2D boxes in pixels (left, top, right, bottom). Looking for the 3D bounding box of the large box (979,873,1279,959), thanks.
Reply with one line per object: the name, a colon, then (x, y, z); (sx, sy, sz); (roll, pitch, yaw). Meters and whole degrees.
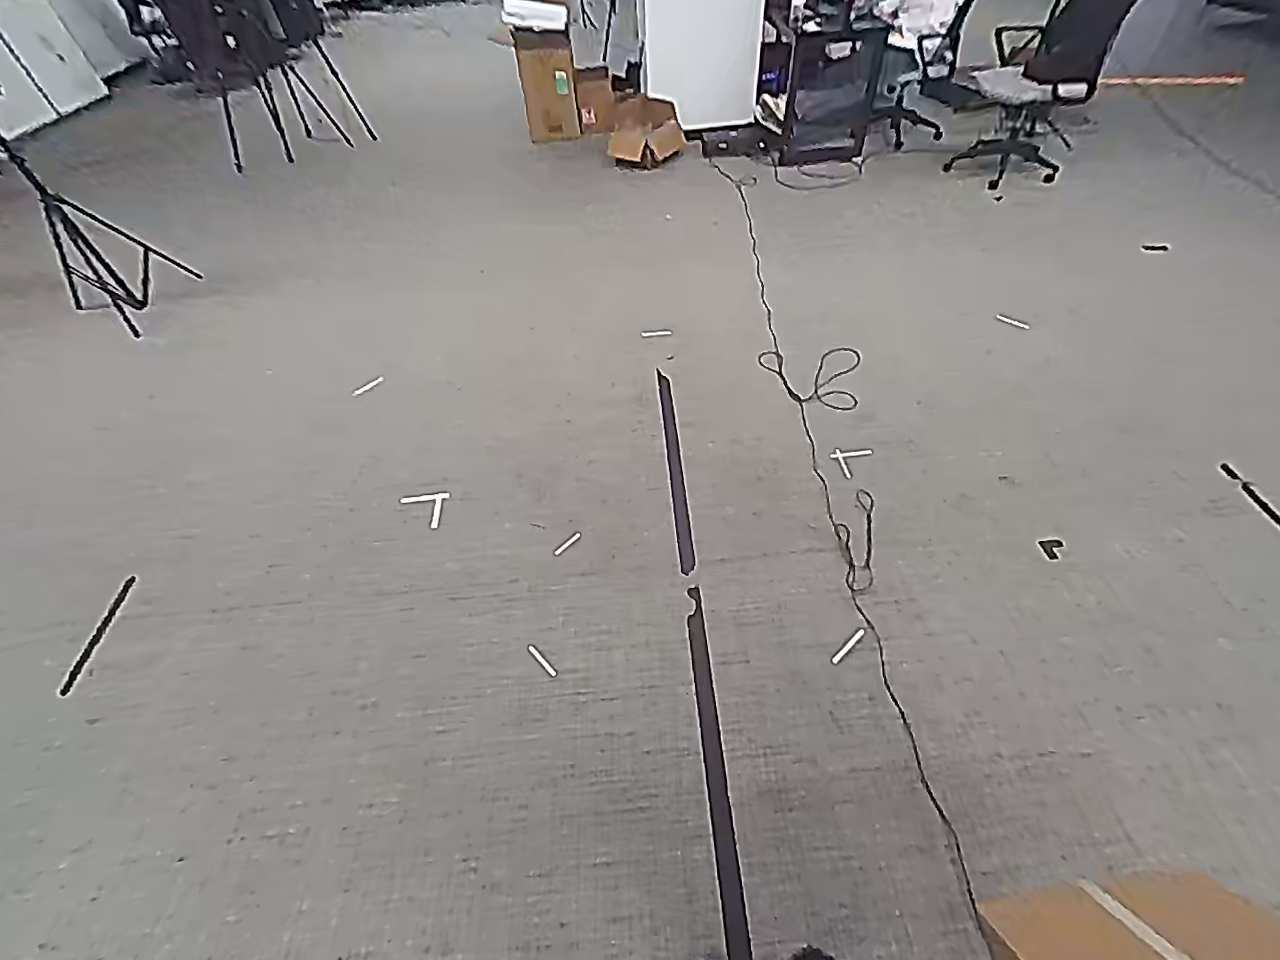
large box: (0.645, 0.700, 0.553); (0.320, 0.408, 0.320); (-13, 81, 3)
